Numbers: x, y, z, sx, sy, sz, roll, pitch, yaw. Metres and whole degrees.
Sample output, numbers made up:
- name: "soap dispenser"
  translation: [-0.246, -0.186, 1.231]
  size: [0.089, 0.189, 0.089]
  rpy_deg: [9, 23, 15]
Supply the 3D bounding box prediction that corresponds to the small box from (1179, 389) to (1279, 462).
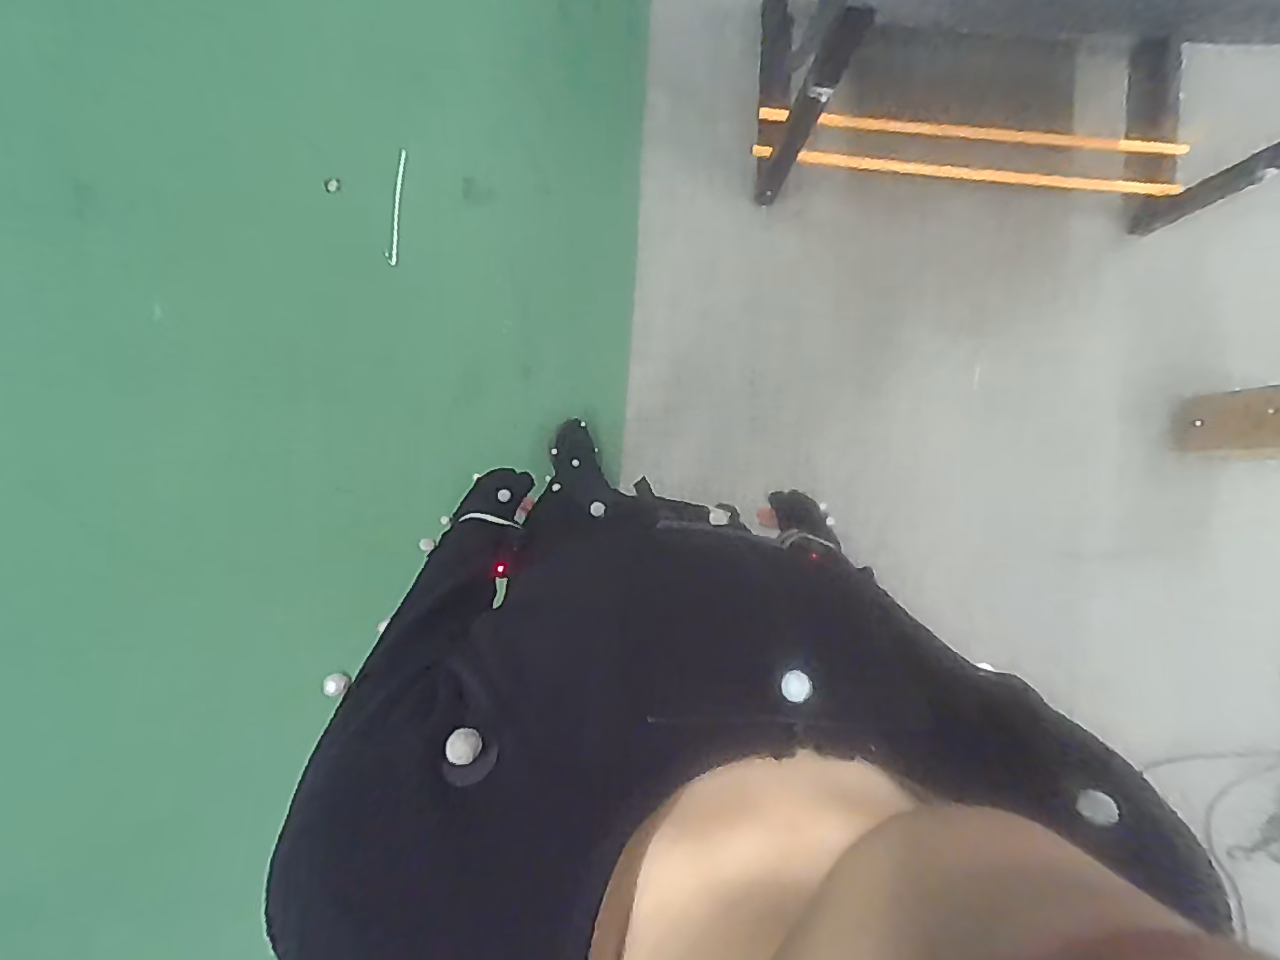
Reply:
- name: "small box"
  translation: [1.667, -0.144, 1.494]
  size: [0.179, 0.176, 0.168]
  rpy_deg: [9, 88, -2]
